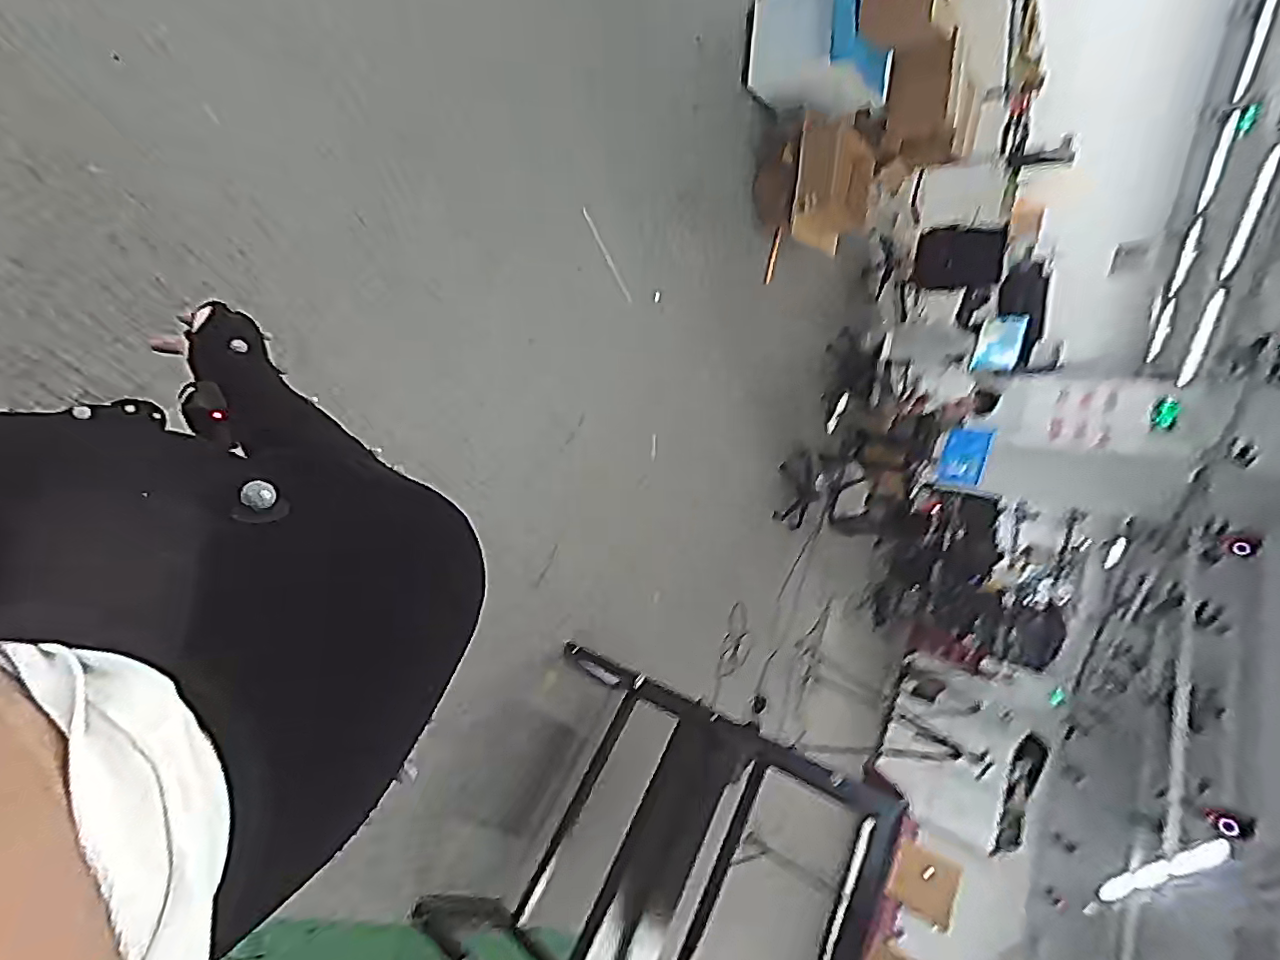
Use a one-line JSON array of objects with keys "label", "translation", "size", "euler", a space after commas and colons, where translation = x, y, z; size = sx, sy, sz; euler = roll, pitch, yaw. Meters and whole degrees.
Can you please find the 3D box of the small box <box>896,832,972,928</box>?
[{"label": "small box", "translation": [0.869, 1.182, 1.604], "size": [0.168, 0.176, 0.179], "euler": [-57, 140, -25]}]
